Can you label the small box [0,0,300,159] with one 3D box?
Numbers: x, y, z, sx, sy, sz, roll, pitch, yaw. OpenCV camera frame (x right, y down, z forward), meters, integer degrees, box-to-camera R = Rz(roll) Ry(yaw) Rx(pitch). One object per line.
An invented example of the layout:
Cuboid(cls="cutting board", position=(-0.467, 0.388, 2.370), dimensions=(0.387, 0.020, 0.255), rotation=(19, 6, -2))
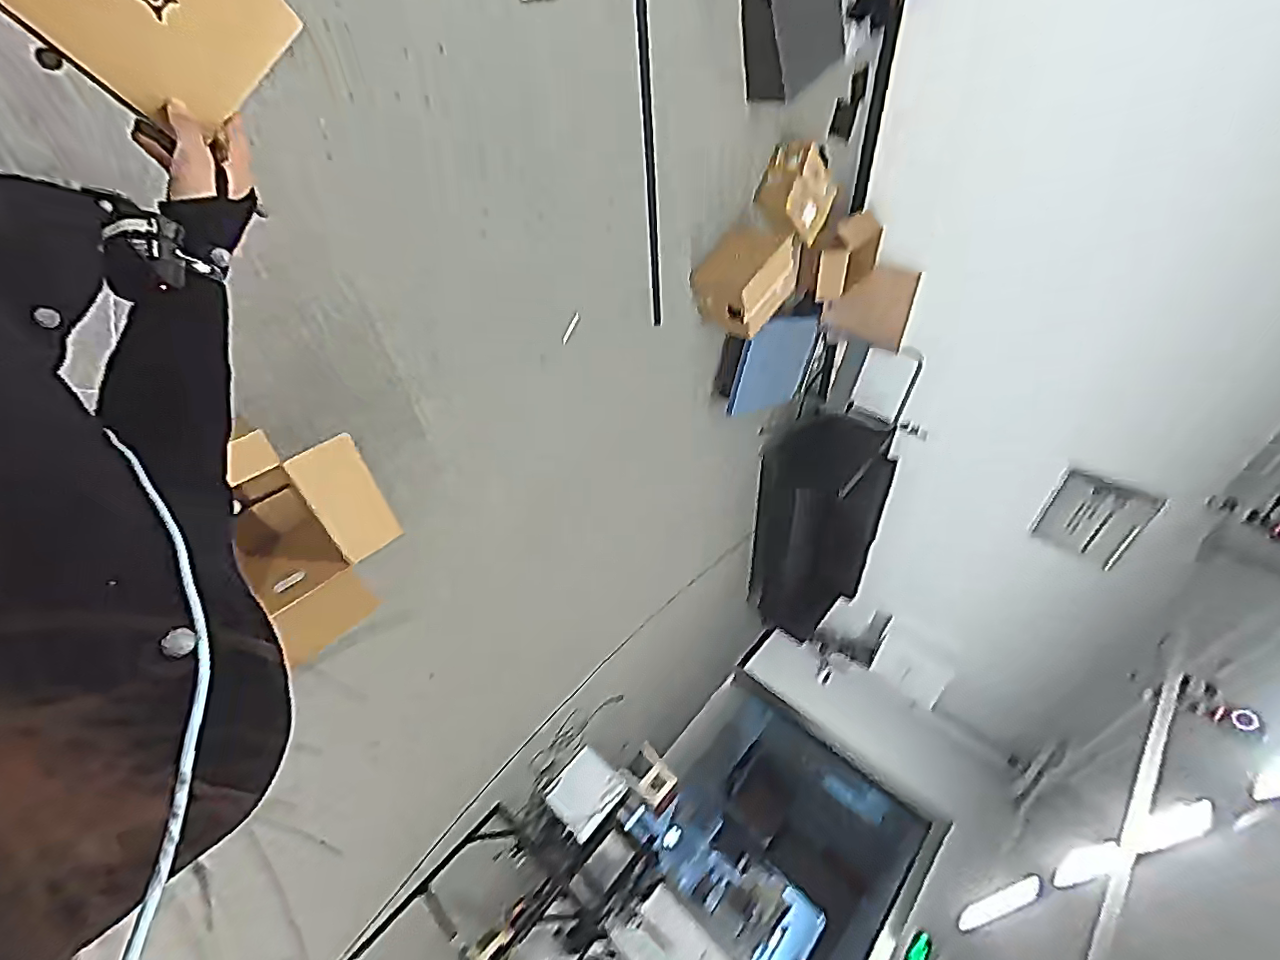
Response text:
Cuboid(cls="small box", position=(-0.455, -0.431, 0.468), dimensions=(0.168, 0.176, 0.179), rotation=(-54, 154, 0))
